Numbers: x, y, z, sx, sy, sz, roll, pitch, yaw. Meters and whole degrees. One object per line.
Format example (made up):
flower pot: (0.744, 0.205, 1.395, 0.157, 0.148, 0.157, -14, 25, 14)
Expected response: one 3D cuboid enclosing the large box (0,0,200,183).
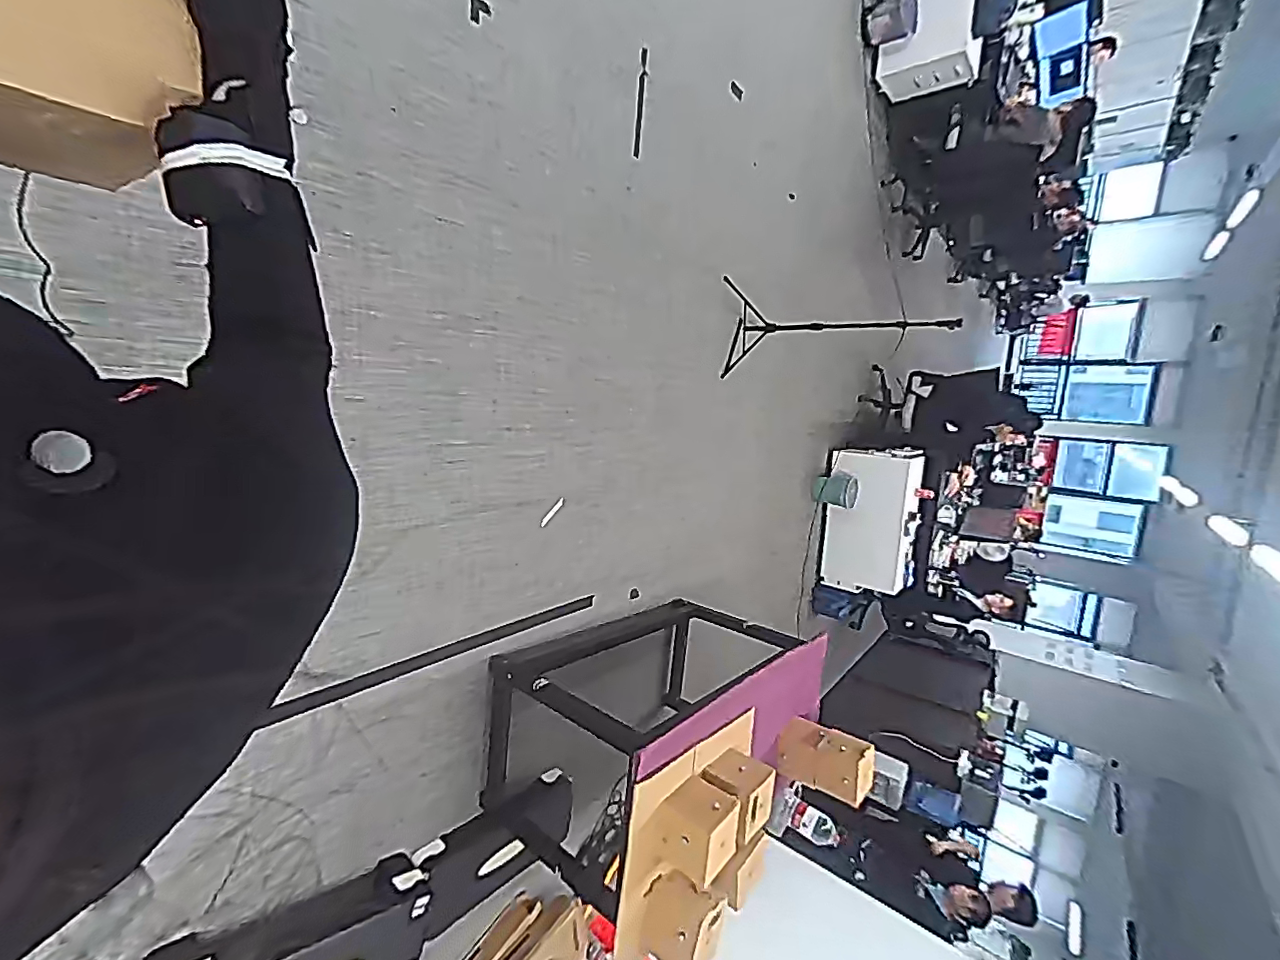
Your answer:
large box: (-0.558, -0.415, 0.311, 0.408, 0.320, 0.320, -8, 110, -52)
